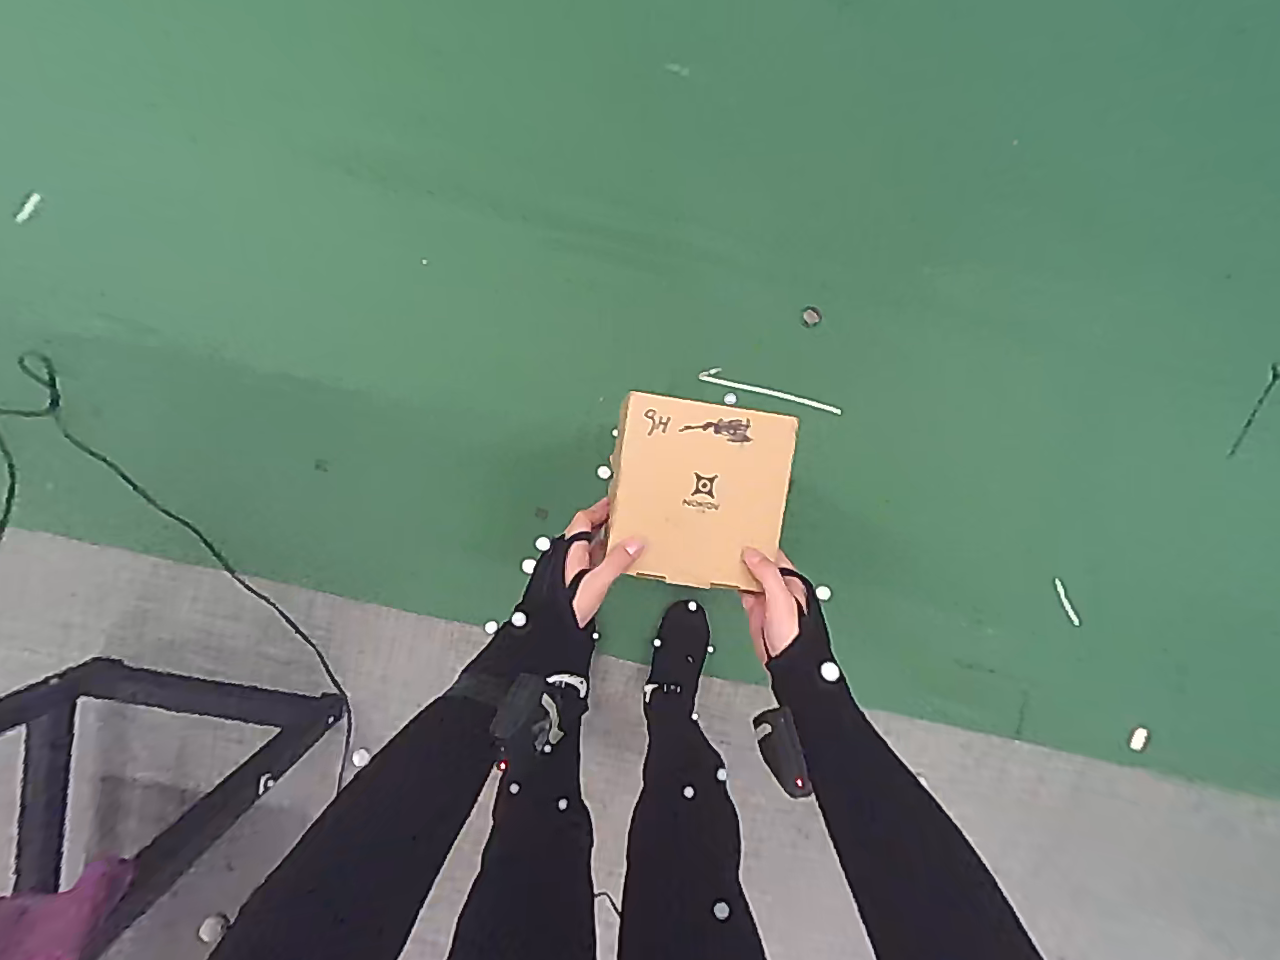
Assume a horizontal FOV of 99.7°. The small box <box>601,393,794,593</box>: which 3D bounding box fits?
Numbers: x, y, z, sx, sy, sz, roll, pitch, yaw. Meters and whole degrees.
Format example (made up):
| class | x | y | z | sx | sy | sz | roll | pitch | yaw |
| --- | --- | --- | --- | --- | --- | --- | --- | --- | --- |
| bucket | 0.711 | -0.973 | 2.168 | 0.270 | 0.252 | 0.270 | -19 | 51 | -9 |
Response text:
| class | x | y | z | sx | sy | sz | roll | pitch | yaw |
| --- | --- | --- | --- | --- | --- | --- | --- | --- | --- |
| small box | 0.051 | 0.009 | 0.601 | 0.168 | 0.176 | 0.179 | 8 | 93 | -5 |
